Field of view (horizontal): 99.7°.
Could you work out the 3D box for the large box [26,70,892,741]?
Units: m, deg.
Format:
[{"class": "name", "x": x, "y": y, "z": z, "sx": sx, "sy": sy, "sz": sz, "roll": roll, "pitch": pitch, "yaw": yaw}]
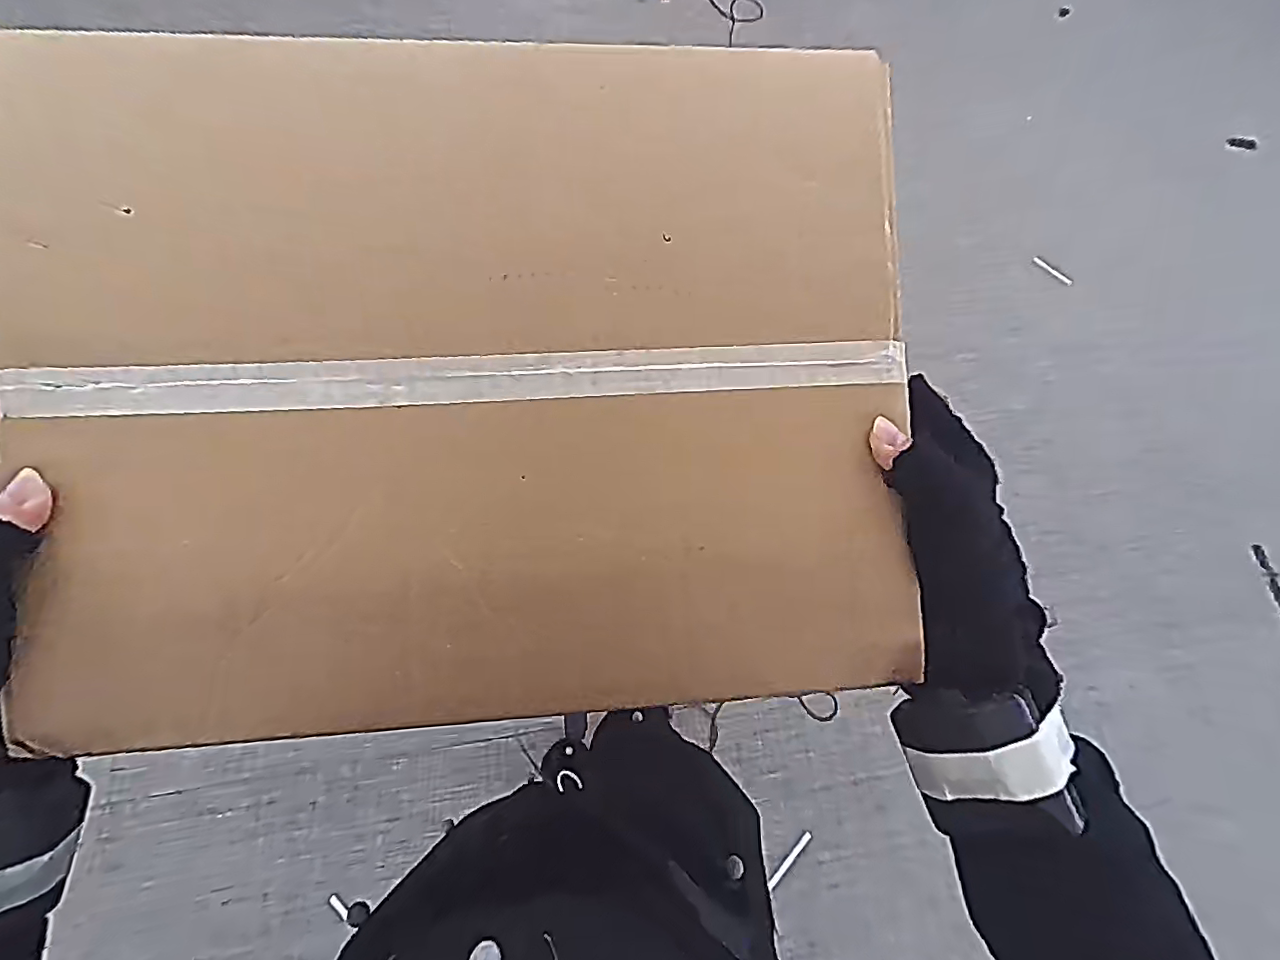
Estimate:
[{"class": "large box", "x": -0.086, "y": -0.043, "z": 0.410, "sx": 0.408, "sy": 0.320, "sz": 0.320, "roll": -2, "pitch": 88, "yaw": -5}]
